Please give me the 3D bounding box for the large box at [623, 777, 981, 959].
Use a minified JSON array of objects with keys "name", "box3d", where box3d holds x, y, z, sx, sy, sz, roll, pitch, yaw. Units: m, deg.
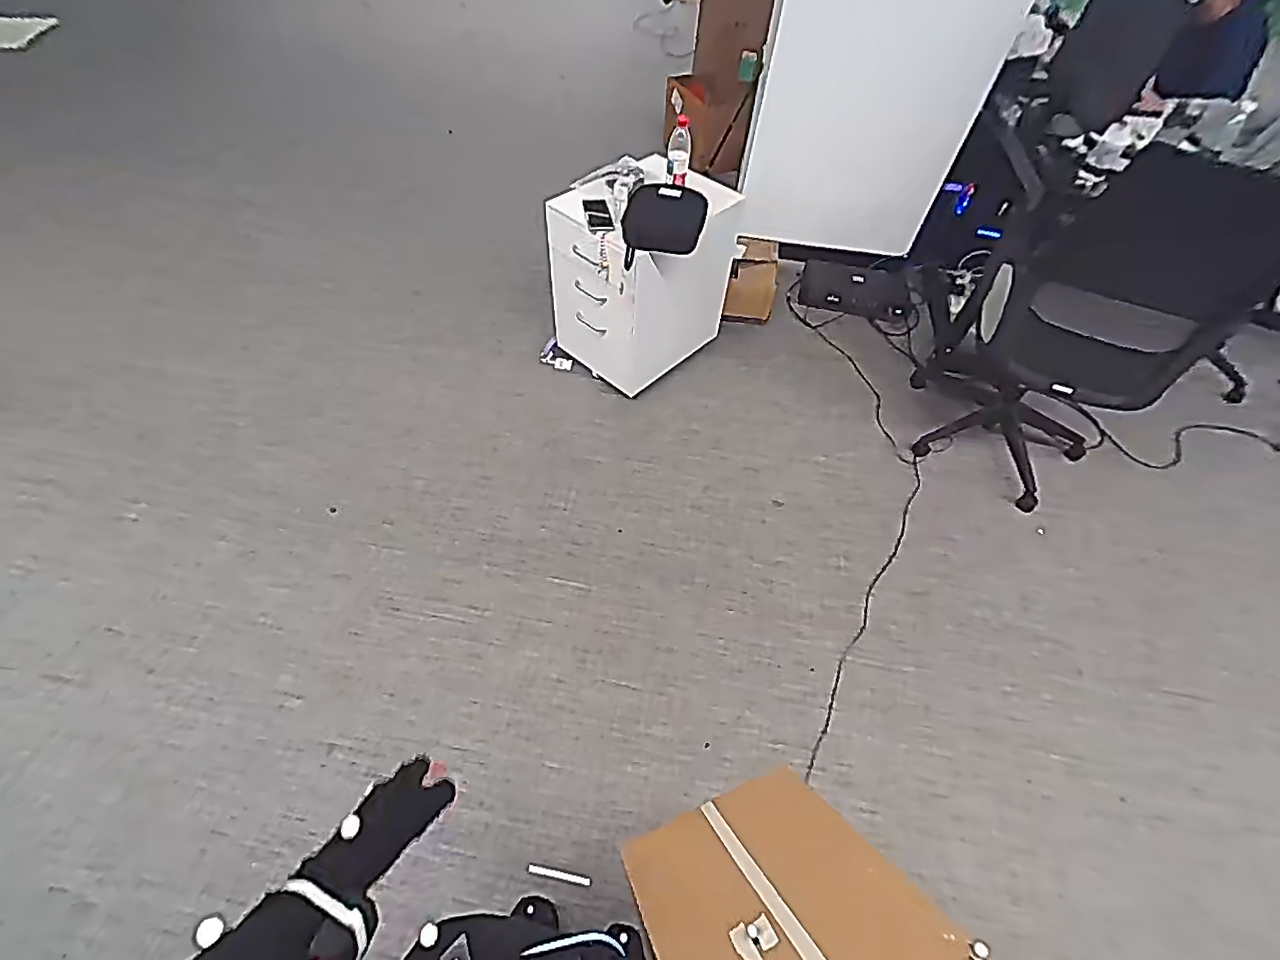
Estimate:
[{"name":"large box","box3d":[0.203,0.689,0.712,0.320,0.408,0.320,-17,93,-14]}]
